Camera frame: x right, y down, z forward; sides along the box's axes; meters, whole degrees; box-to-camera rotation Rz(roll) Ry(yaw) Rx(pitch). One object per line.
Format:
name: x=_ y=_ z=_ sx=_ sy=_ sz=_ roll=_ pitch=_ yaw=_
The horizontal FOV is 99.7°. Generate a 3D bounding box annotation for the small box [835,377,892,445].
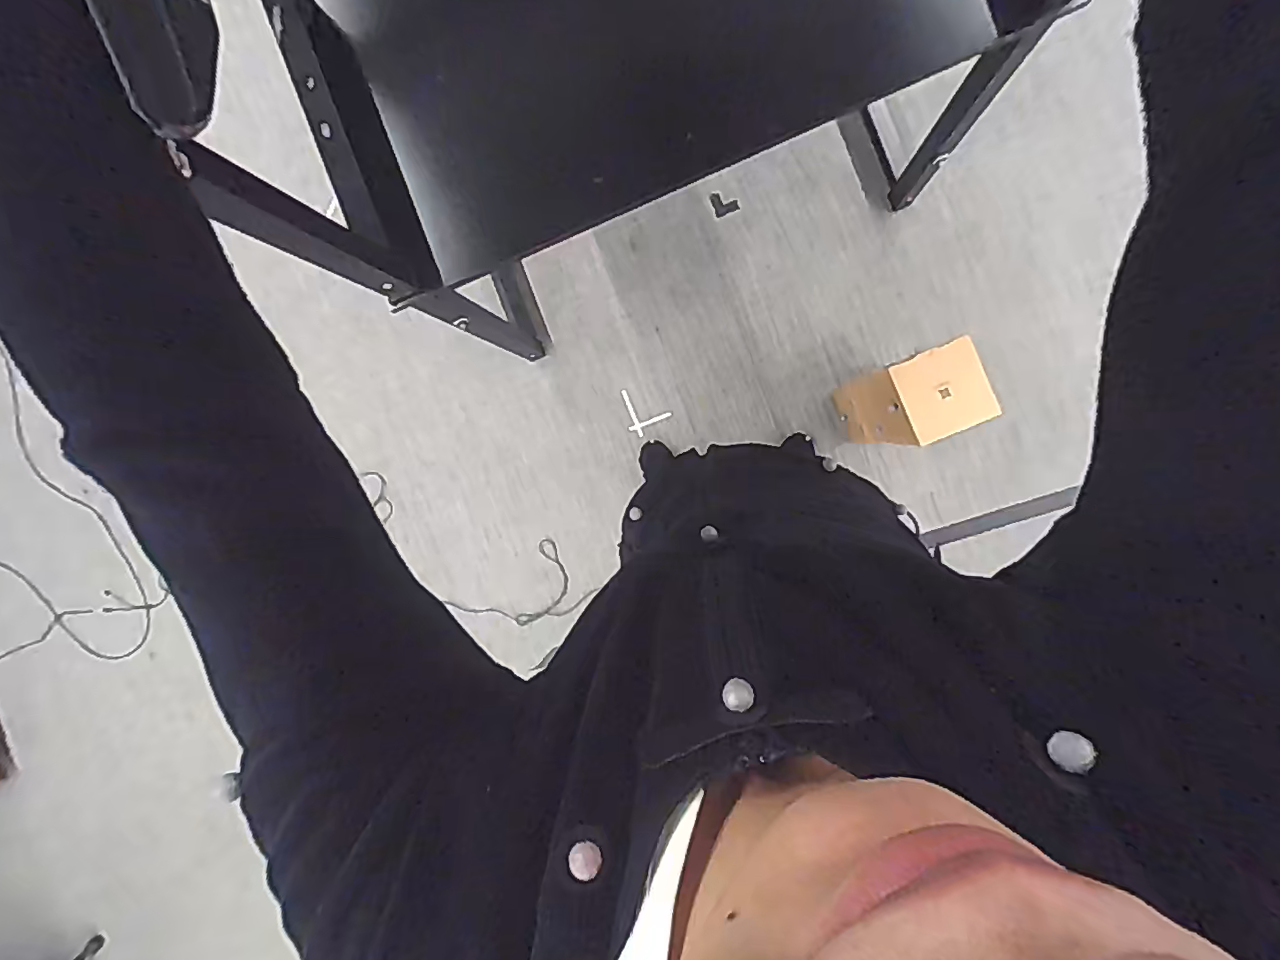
small box: x=0.659 y=-0.202 z=1.477 sx=0.179 sy=0.176 sz=0.168 roll=-22 pitch=90 yaw=9

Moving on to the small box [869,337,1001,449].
small box: x=0.618 y=-0.179 z=1.153 sx=0.168 sy=0.176 sz=0.179 roll=-24 pitch=90 yaw=9
